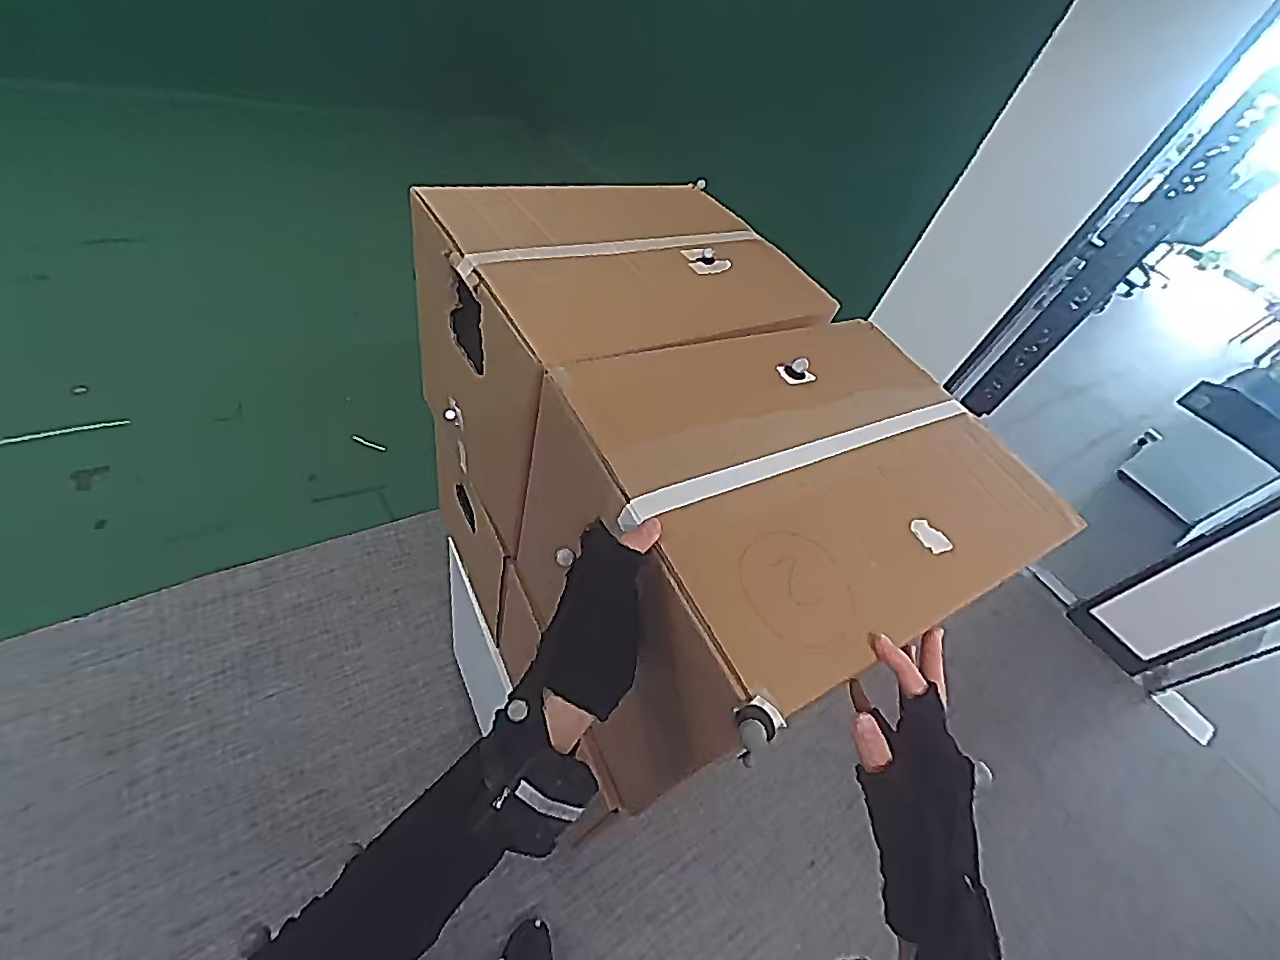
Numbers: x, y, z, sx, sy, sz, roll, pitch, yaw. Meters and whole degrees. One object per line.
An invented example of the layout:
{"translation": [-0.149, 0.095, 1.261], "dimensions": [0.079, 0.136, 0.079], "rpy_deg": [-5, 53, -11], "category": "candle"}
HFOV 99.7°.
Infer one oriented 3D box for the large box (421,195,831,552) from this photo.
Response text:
{"translation": [-0.038, -0.162, 0.735], "dimensions": [0.408, 0.320, 0.320], "rpy_deg": [-19, 58, -31], "category": "large box"}
